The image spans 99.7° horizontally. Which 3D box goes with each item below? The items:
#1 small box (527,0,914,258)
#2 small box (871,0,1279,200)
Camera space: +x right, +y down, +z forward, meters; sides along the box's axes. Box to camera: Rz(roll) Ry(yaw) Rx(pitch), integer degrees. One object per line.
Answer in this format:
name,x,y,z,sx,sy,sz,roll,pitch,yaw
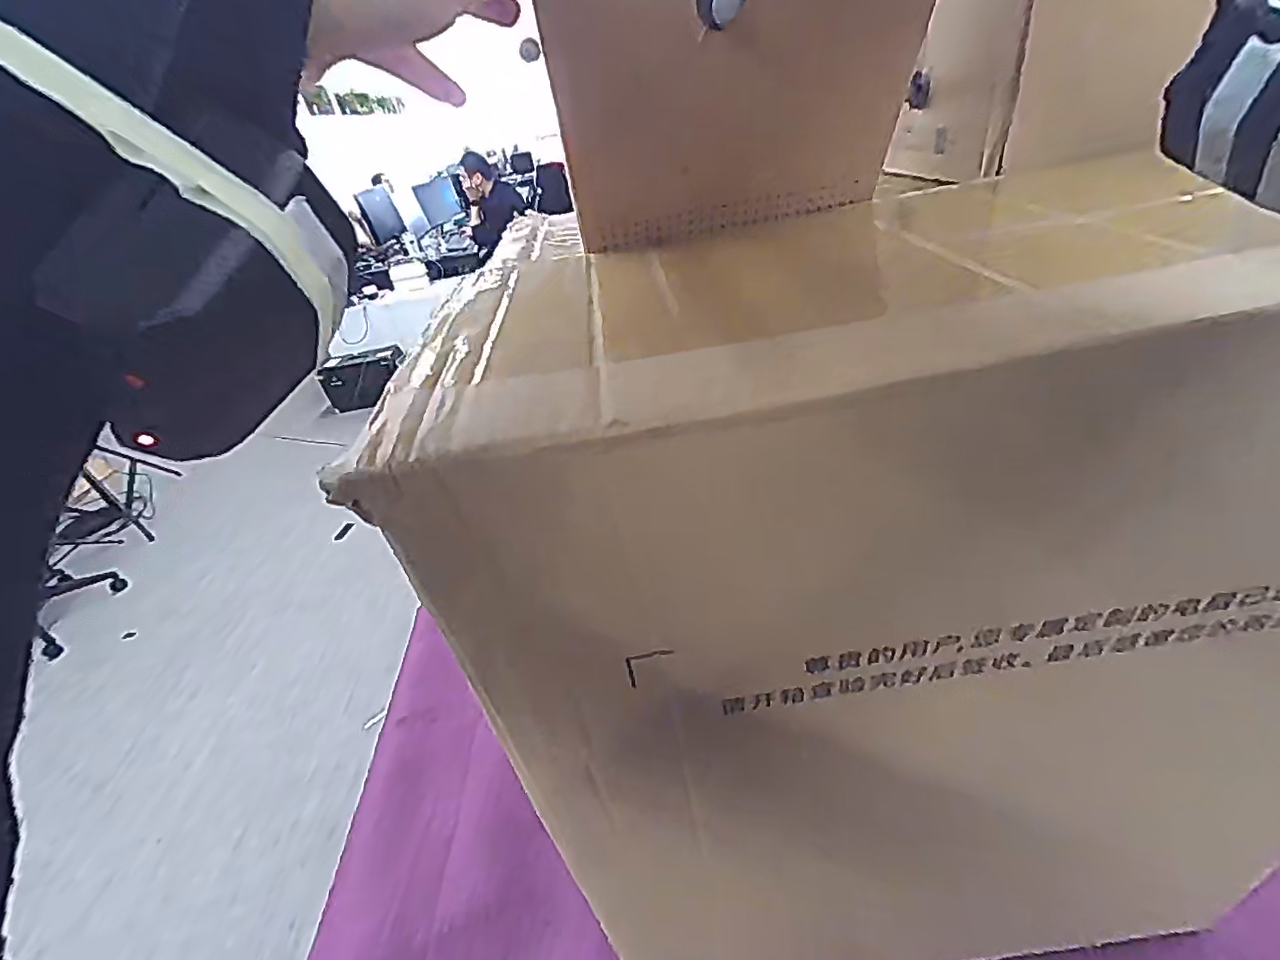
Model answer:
small box,0.034,-0.248,0.297,0.179,0.176,0.168,-10,61,0
small box,0.272,-0.300,0.350,0.179,0.176,0.168,-14,35,-1
